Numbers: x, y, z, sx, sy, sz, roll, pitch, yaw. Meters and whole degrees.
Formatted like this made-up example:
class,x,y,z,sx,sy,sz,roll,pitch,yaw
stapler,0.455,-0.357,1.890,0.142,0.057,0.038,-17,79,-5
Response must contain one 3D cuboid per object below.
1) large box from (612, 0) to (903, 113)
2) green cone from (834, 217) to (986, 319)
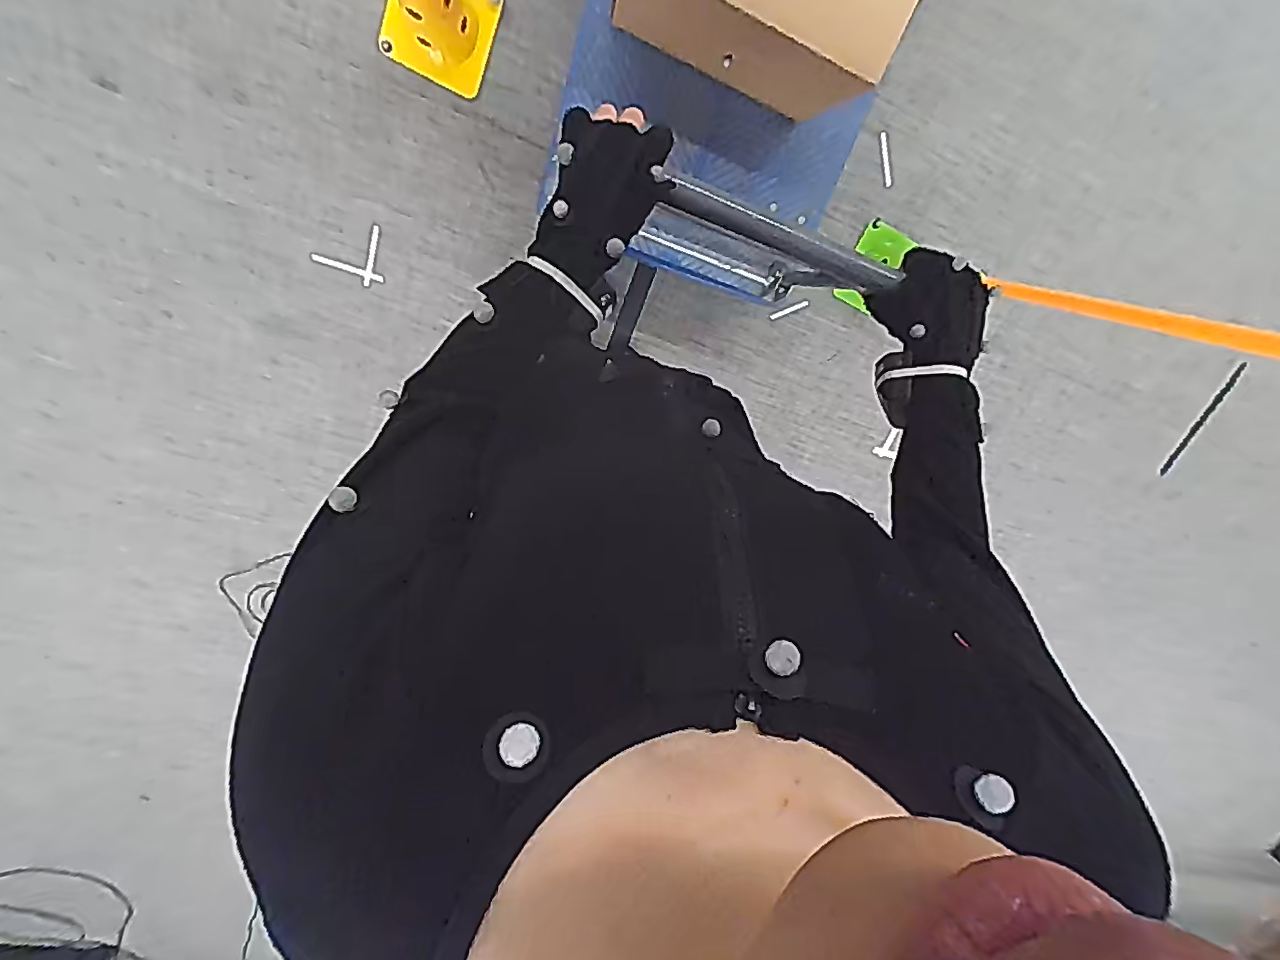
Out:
class,x,y,z,sx,sy,sz,roll,pitch,yaw
large box,0.198,-0.849,0.851,0.408,0.320,0.320,17,112,-14
green cone,0.646,-0.472,1.245,0.202,0.368,0.200,20,110,-18
